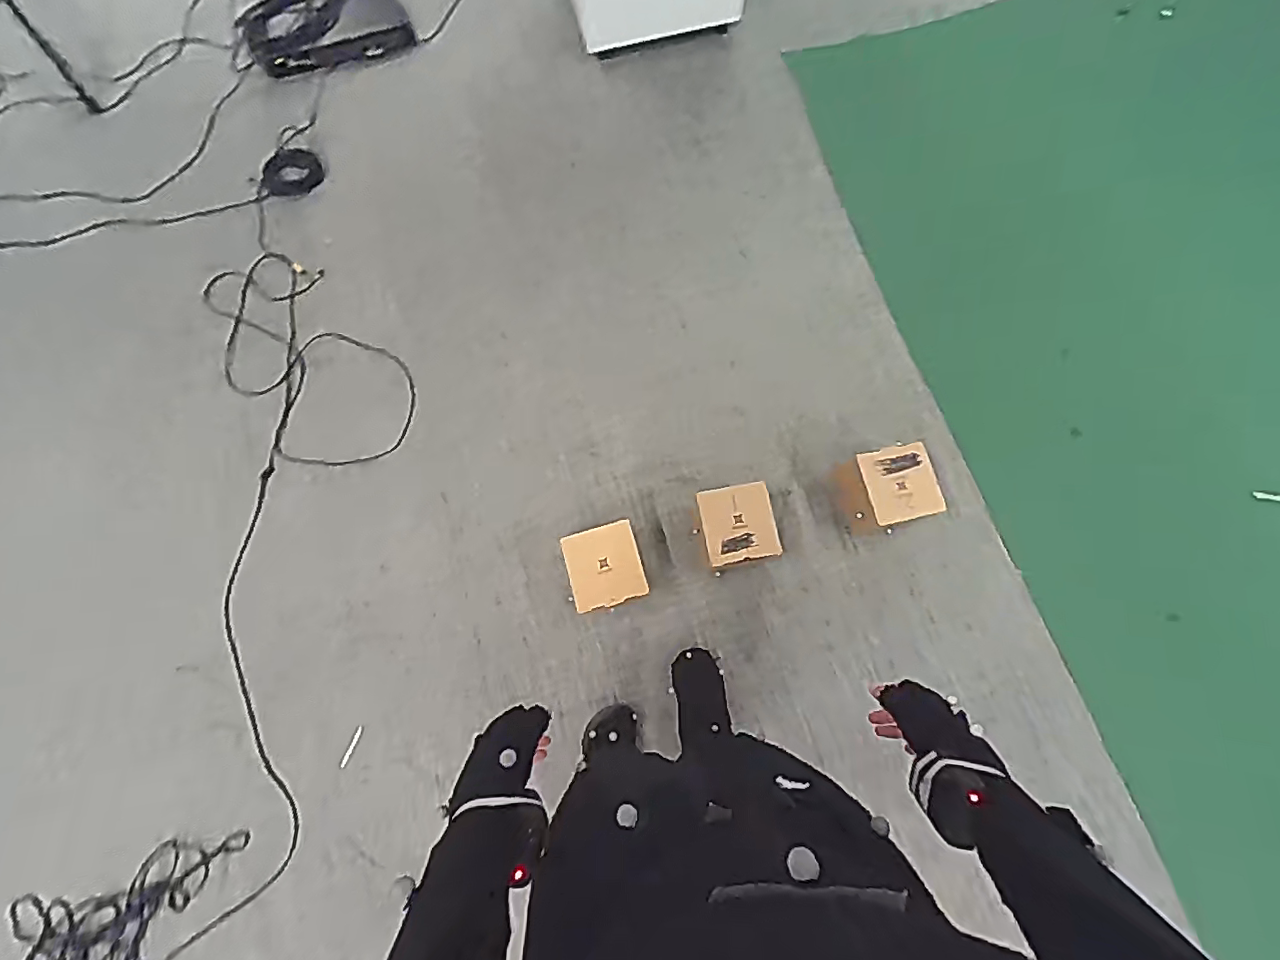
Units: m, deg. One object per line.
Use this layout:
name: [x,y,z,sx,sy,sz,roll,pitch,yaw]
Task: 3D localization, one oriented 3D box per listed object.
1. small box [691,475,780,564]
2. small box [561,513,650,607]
small box: [0.221,0.103,1.299,0.168,0.176,0.179,-10,75,-2]
small box: [-0.079,0.194,1.282,0.168,0.176,0.179,-16,77,-3]
